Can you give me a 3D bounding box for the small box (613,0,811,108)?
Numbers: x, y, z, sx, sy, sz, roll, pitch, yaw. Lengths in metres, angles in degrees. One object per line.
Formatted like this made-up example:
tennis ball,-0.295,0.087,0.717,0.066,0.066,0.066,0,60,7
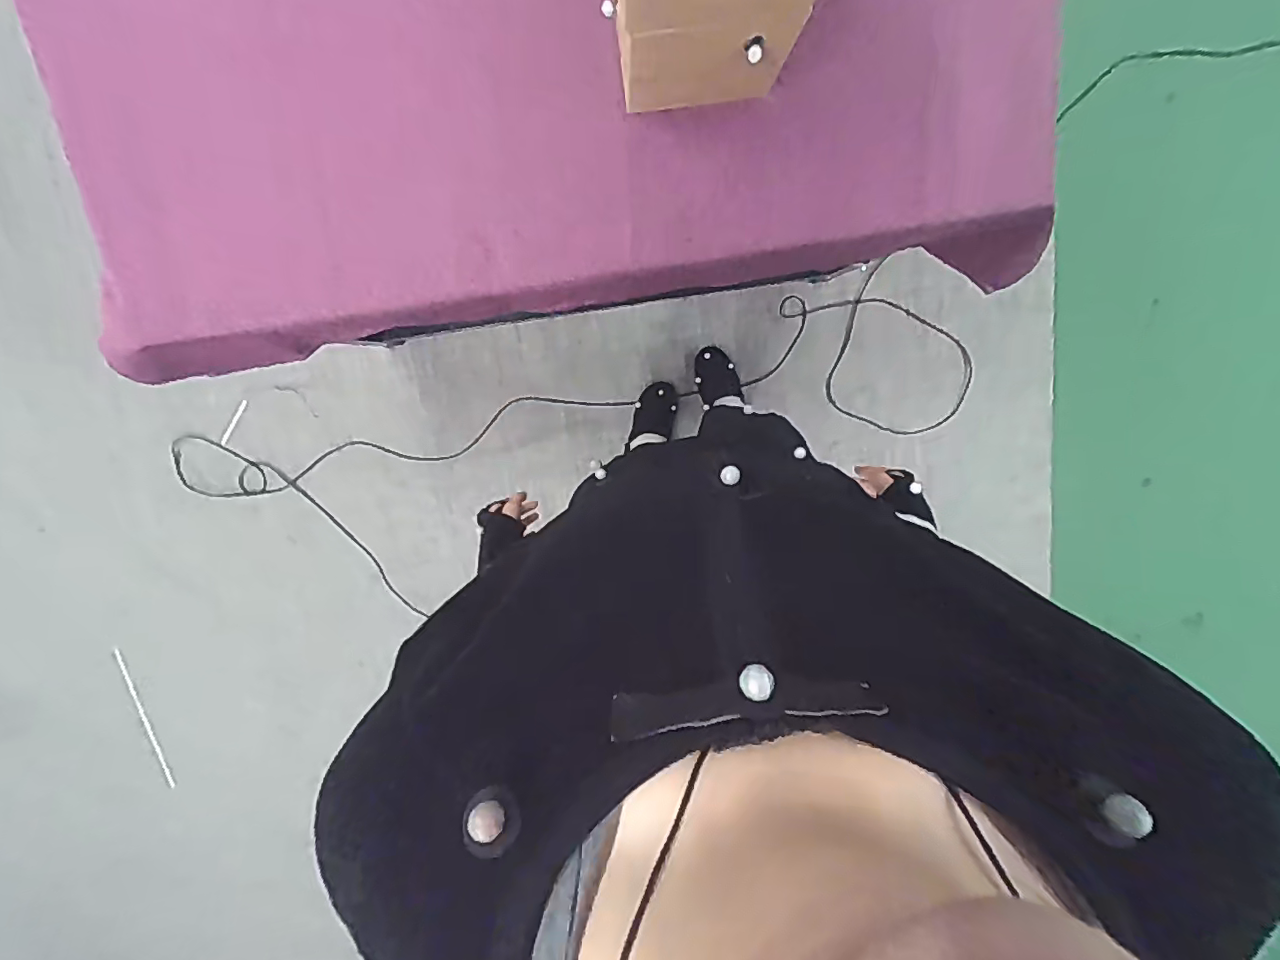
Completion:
small box,0.062,-0.524,0.565,0.179,0.176,0.168,-8,102,0
